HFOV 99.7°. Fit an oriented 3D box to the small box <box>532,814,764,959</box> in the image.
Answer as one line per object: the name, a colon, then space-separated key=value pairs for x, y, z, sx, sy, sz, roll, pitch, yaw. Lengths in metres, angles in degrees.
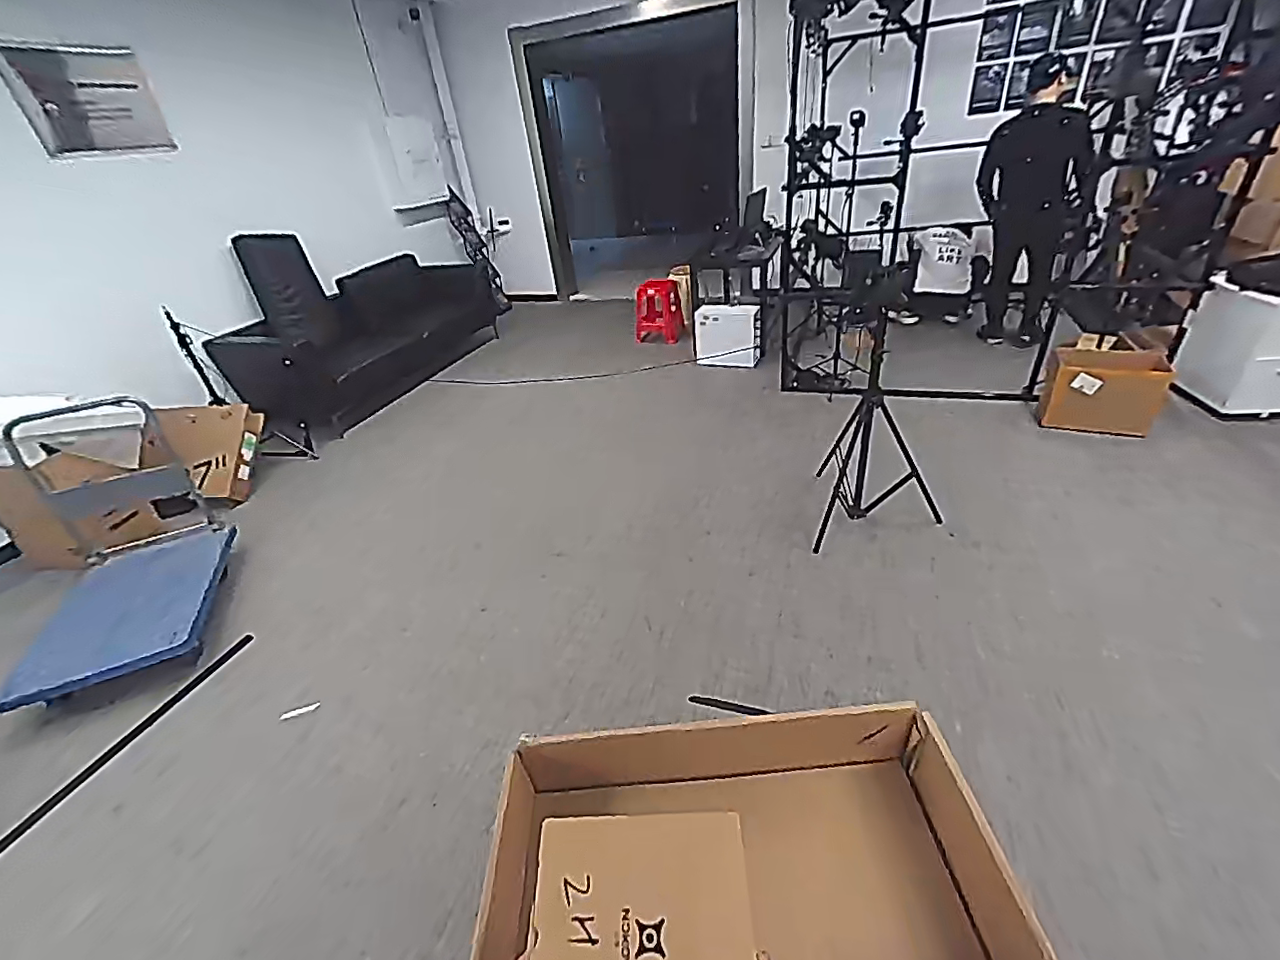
small box: x=0.013 y=0.406 z=0.465 sx=0.179 sy=0.176 sz=0.168 roll=-5 pitch=42 yaw=5
